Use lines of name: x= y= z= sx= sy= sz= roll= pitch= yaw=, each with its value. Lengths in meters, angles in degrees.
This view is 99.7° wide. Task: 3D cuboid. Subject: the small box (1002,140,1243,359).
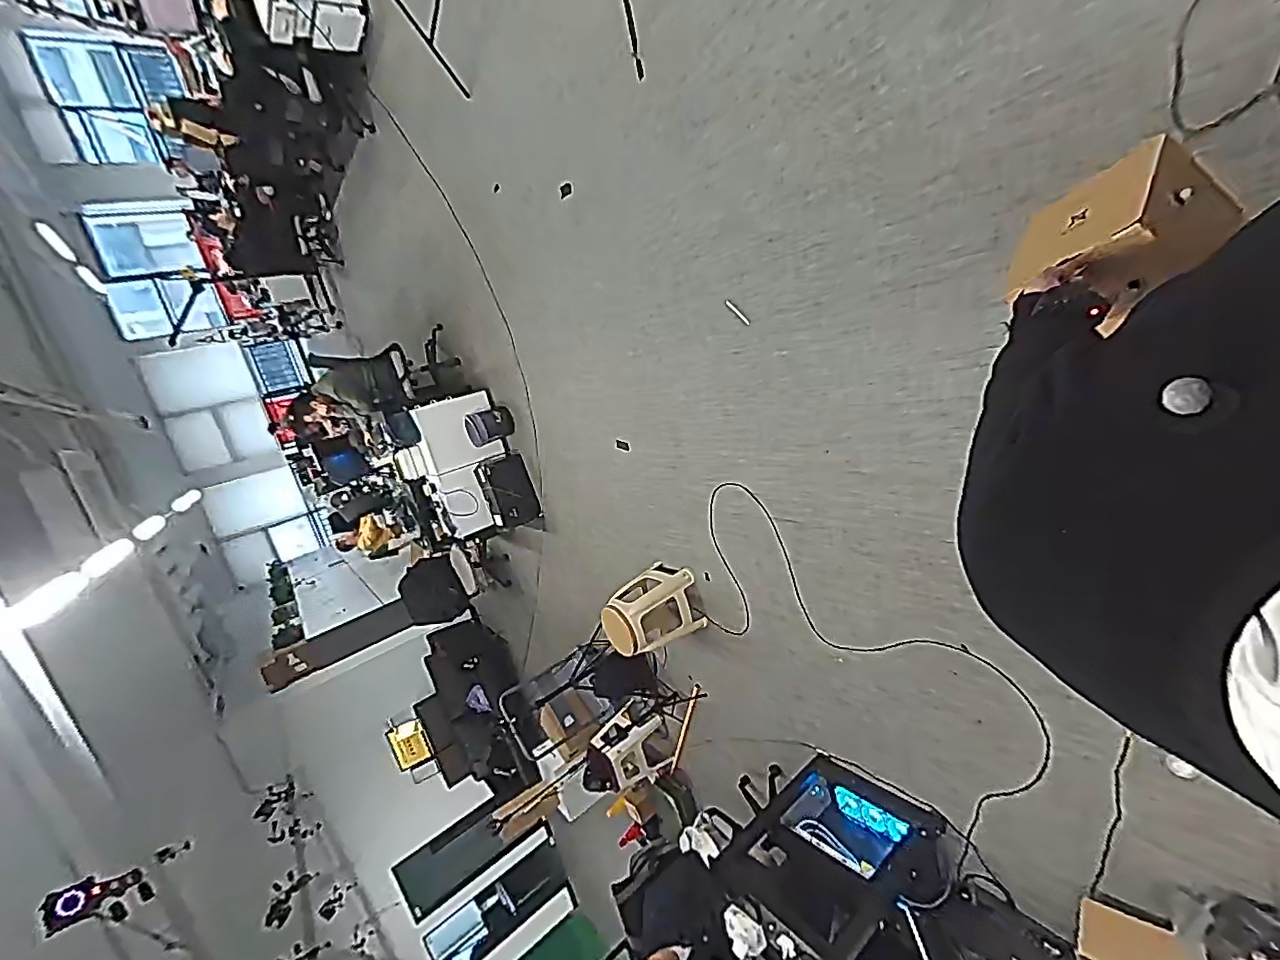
small box: x=0.632 y=-0.285 z=0.713 sx=0.176 sy=0.179 sz=0.168 roll=36 pitch=159 yaw=-9
